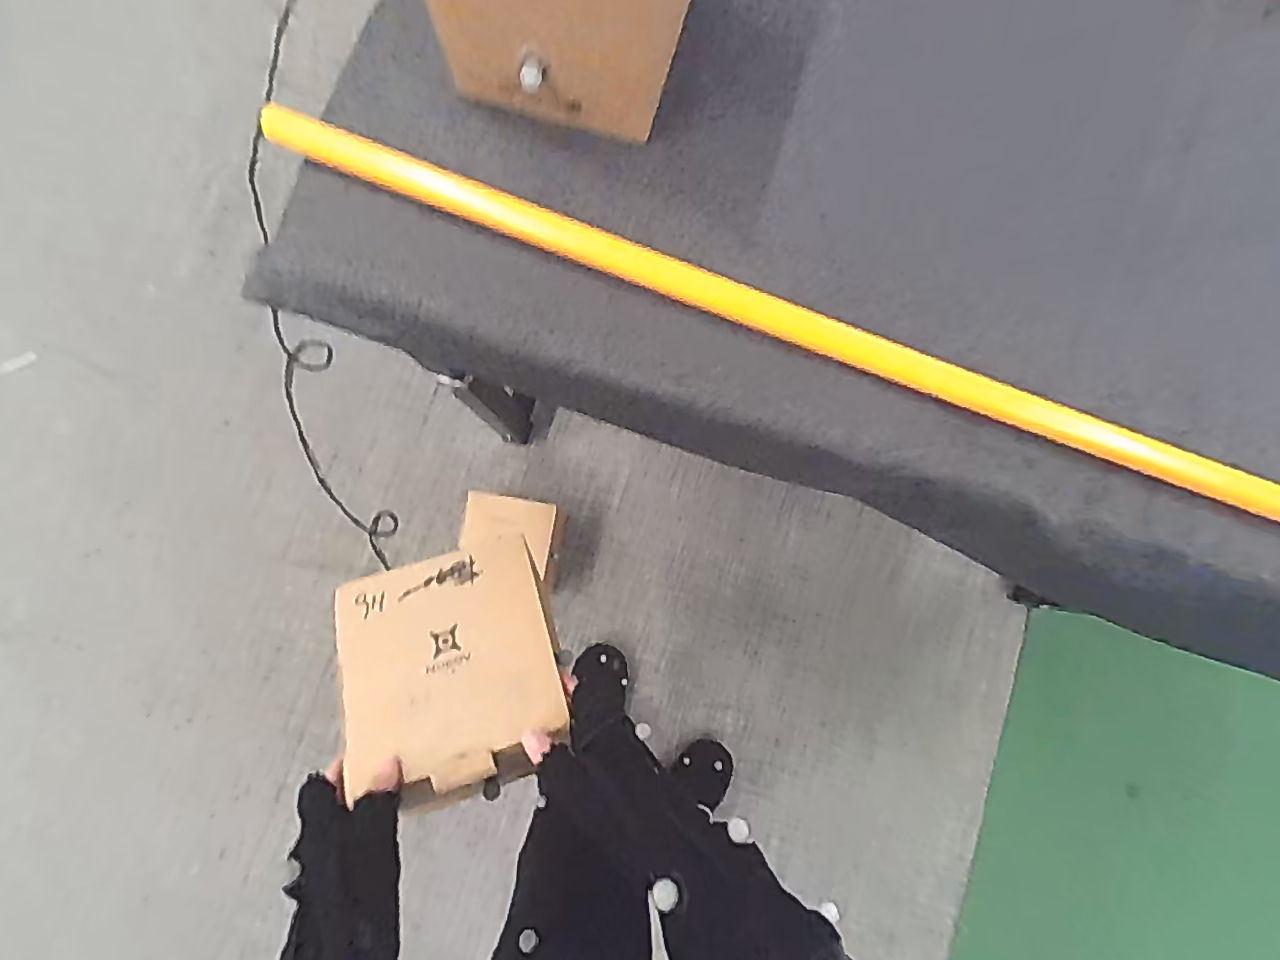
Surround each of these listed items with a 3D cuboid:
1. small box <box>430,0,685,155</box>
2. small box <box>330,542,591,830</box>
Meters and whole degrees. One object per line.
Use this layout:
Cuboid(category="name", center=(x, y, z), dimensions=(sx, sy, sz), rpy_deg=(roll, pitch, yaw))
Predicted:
Cuboid(category="small box", center=(-0.054, -0.389, 0.395), dimensions=(0.168, 0.176, 0.179), rpy_deg=(15, 82, 1))
Cuboid(category="small box", center=(-0.153, 0.190, 0.496), dimensions=(0.168, 0.176, 0.179), rpy_deg=(-20, 59, -10))
